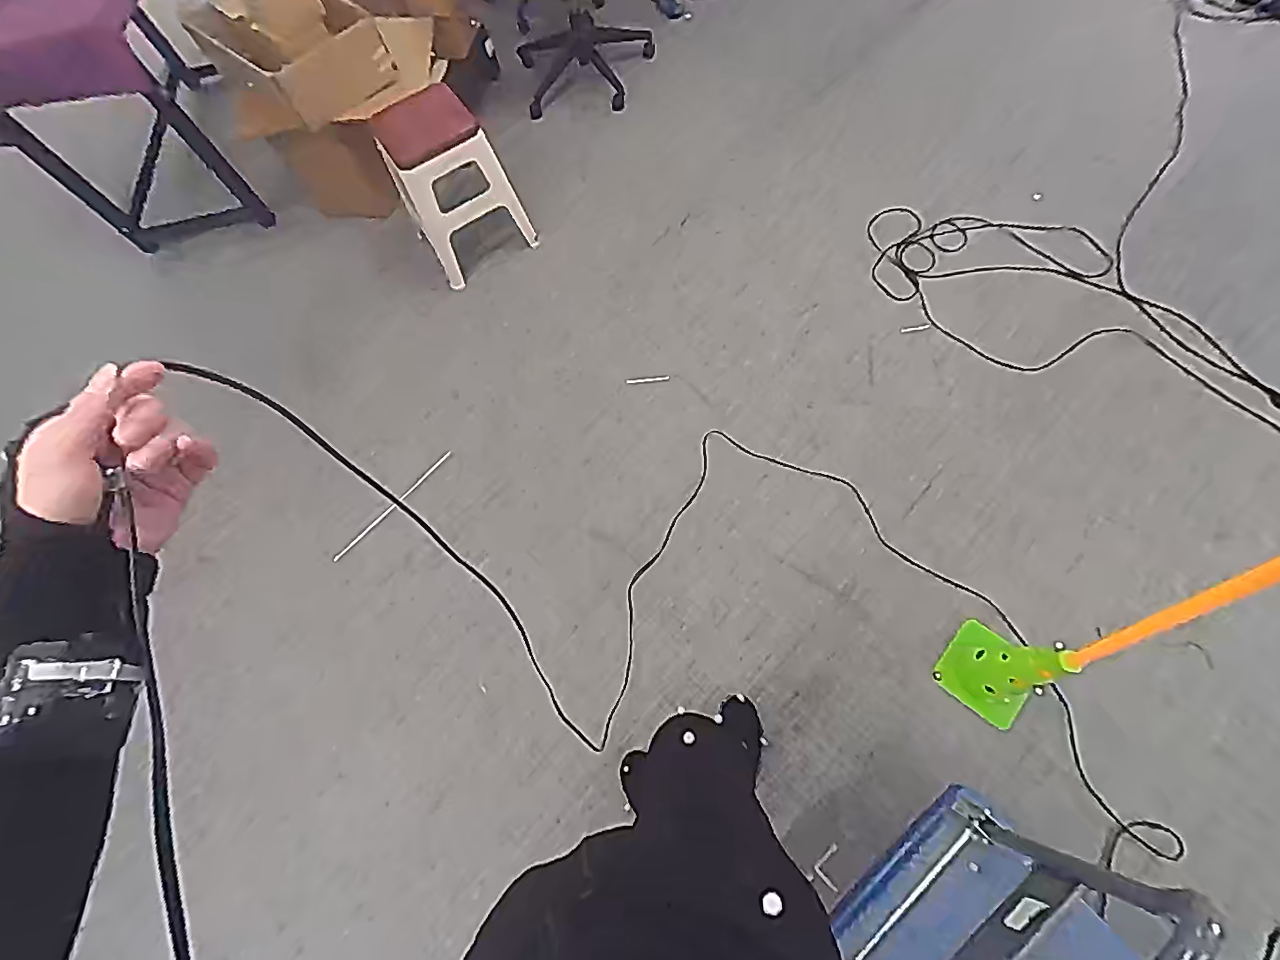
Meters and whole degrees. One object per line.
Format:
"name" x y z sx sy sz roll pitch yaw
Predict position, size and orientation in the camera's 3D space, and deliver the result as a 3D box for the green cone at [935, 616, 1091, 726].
"green cone" 0.848 0.402 1.183 0.200 0.368 0.202 36 75 18
